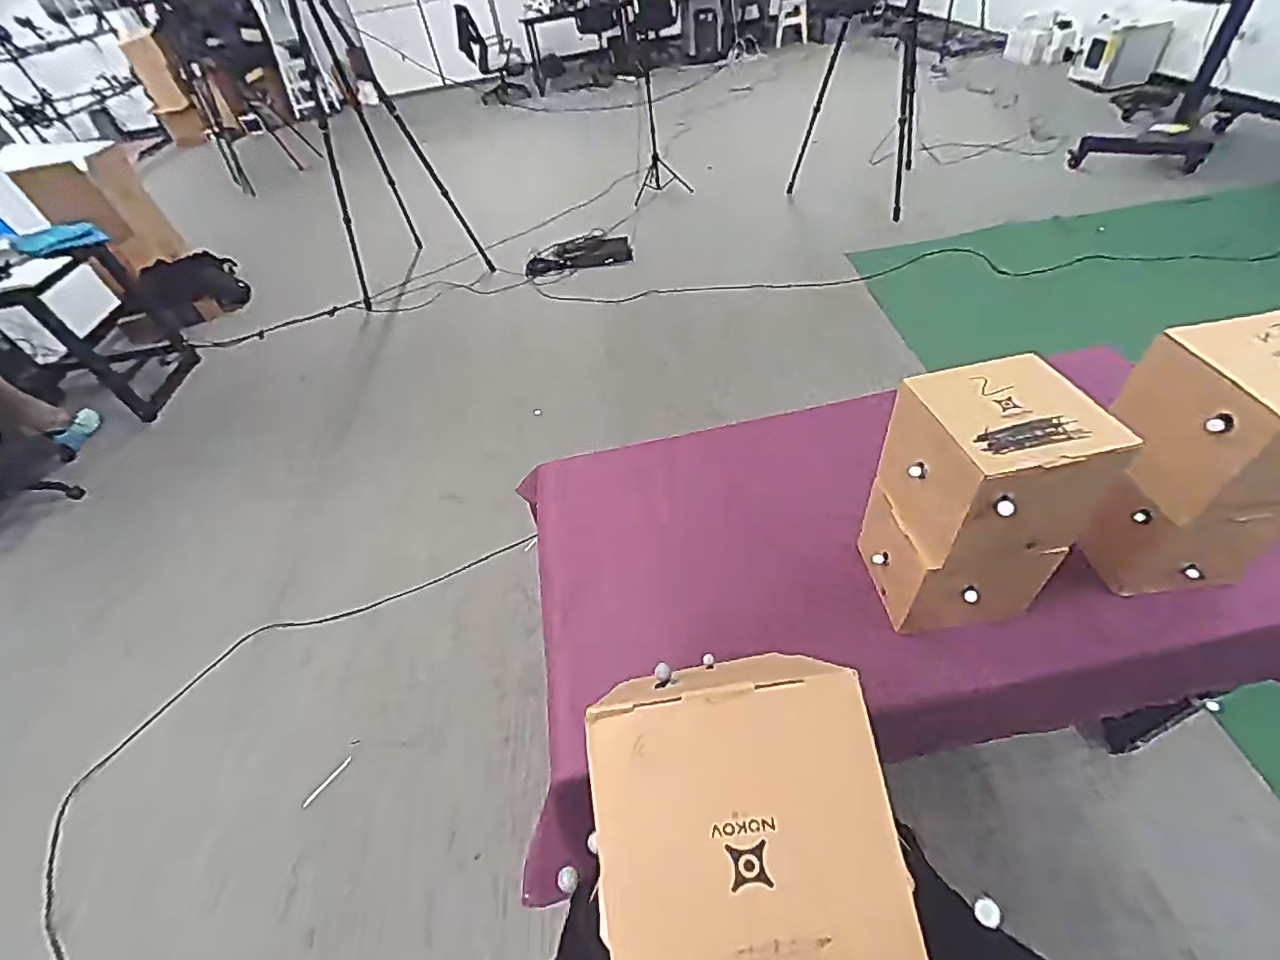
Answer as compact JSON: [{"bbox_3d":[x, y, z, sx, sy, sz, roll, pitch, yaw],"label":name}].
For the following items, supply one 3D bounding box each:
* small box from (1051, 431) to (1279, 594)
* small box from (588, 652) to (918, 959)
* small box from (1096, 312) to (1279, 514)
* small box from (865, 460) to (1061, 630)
[{"bbox_3d":[0.743,0.038,0.773,0.168,0.176,0.179,-8,47,3],"label":"small box"},{"bbox_3d":[0.065,0.221,0.385,0.168,0.176,0.179,-10,74,4],"label":"small box"},{"bbox_3d":[0.721,-0.074,0.654,0.168,0.176,0.179,-9,46,2],"label":"small box"},{"bbox_3d":[0.437,0.097,0.774,0.179,0.176,0.168,-9,46,3],"label":"small box"}]
